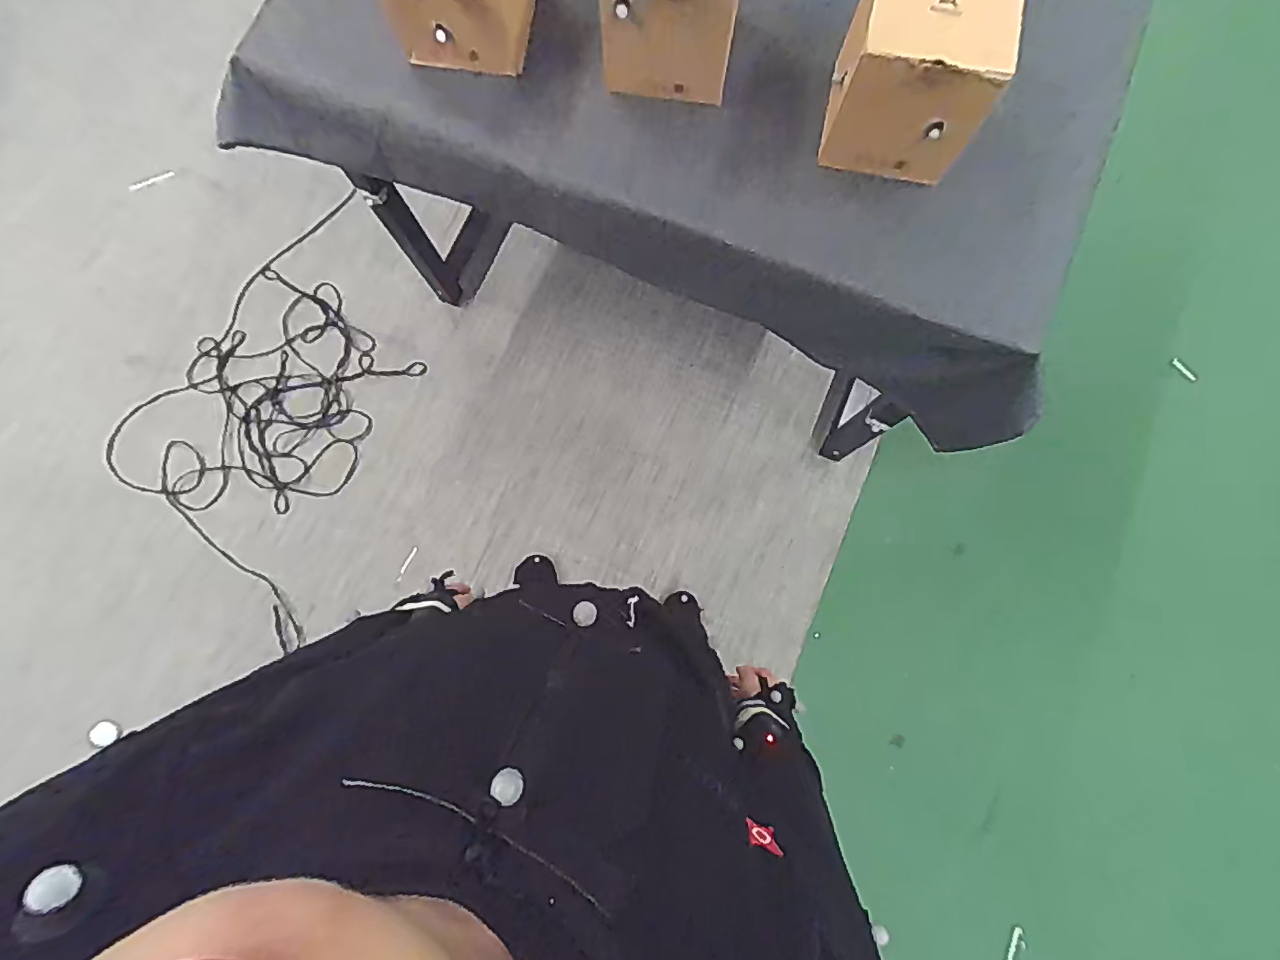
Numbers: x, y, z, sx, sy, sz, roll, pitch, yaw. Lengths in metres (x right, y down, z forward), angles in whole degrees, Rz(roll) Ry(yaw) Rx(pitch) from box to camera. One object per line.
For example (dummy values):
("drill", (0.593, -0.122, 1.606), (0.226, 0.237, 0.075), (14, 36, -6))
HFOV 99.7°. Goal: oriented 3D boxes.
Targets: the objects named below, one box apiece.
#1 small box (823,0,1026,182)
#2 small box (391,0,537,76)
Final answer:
("small box", (0.343, -0.514, 0.678), (0.168, 0.176, 0.179), (12, 79, 2))
("small box", (-0.238, -0.691, 0.716), (0.168, 0.176, 0.179), (8, 80, 2))
